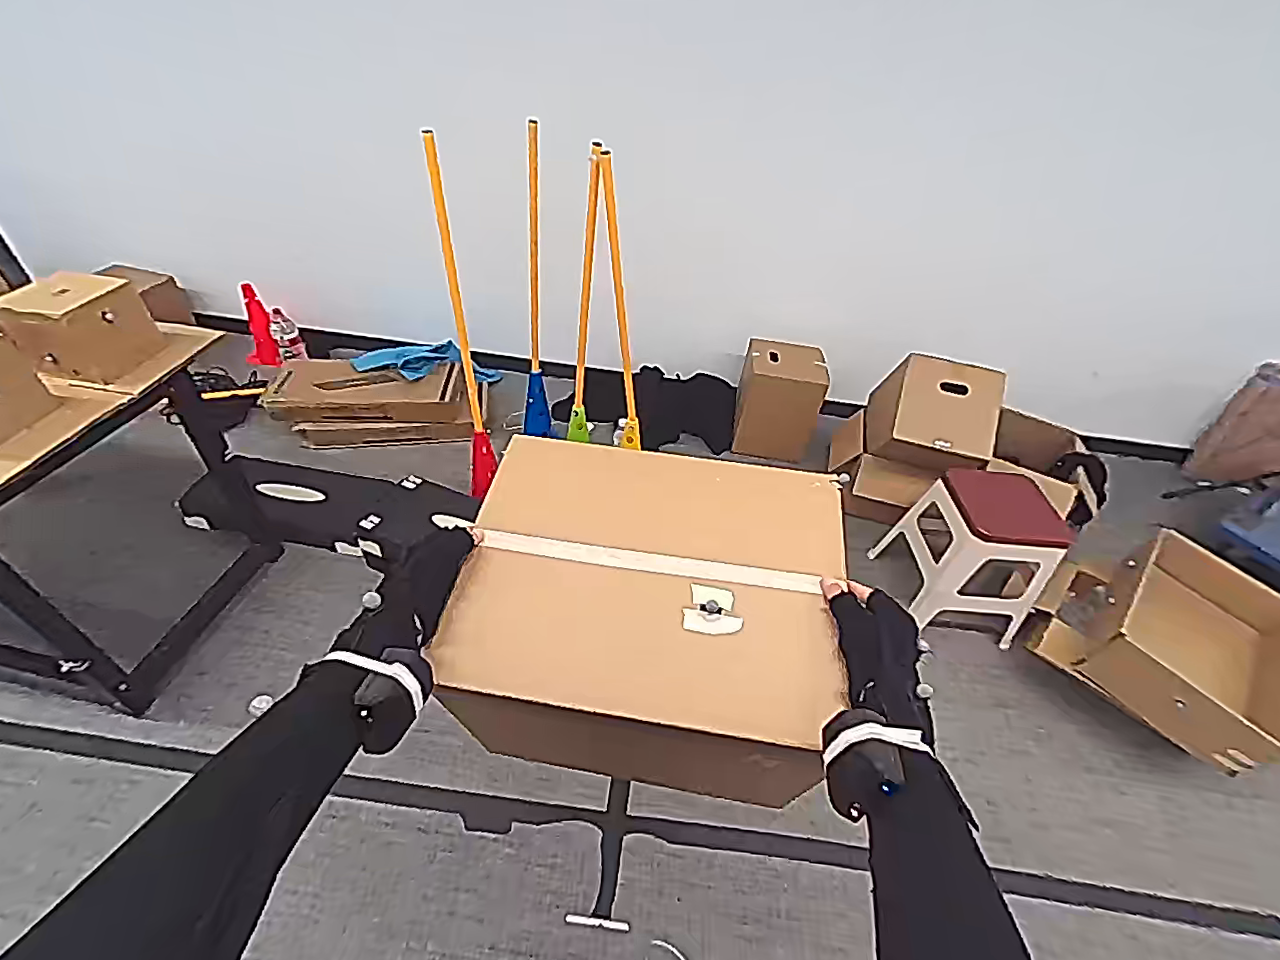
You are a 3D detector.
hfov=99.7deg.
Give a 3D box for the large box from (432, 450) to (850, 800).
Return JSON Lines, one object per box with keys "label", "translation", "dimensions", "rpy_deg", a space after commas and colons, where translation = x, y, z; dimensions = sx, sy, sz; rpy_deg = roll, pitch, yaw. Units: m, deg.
{"label": "large box", "translation": [0.012, 0.193, 0.708], "dimensions": [0.408, 0.320, 0.320], "rpy_deg": [7, 52, 5]}
